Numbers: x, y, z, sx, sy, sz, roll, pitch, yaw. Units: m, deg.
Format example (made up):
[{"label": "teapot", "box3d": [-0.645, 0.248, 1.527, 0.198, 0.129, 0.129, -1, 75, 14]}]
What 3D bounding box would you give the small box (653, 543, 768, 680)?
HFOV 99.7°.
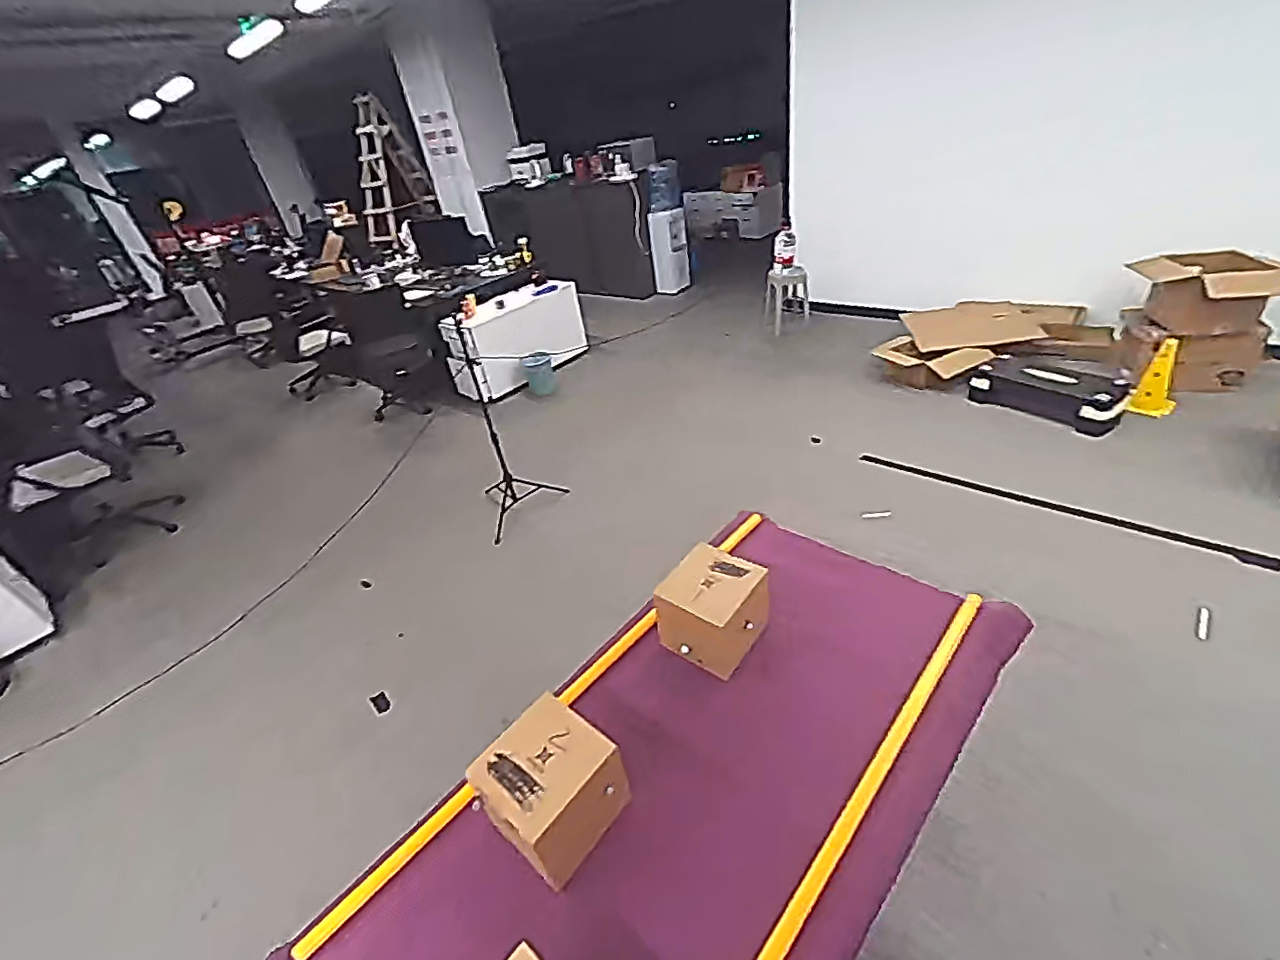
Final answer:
[{"label": "small box", "box3d": [0.147, 0.267, 1.110, 0.168, 0.176, 0.179, 20, 45, 35]}]
